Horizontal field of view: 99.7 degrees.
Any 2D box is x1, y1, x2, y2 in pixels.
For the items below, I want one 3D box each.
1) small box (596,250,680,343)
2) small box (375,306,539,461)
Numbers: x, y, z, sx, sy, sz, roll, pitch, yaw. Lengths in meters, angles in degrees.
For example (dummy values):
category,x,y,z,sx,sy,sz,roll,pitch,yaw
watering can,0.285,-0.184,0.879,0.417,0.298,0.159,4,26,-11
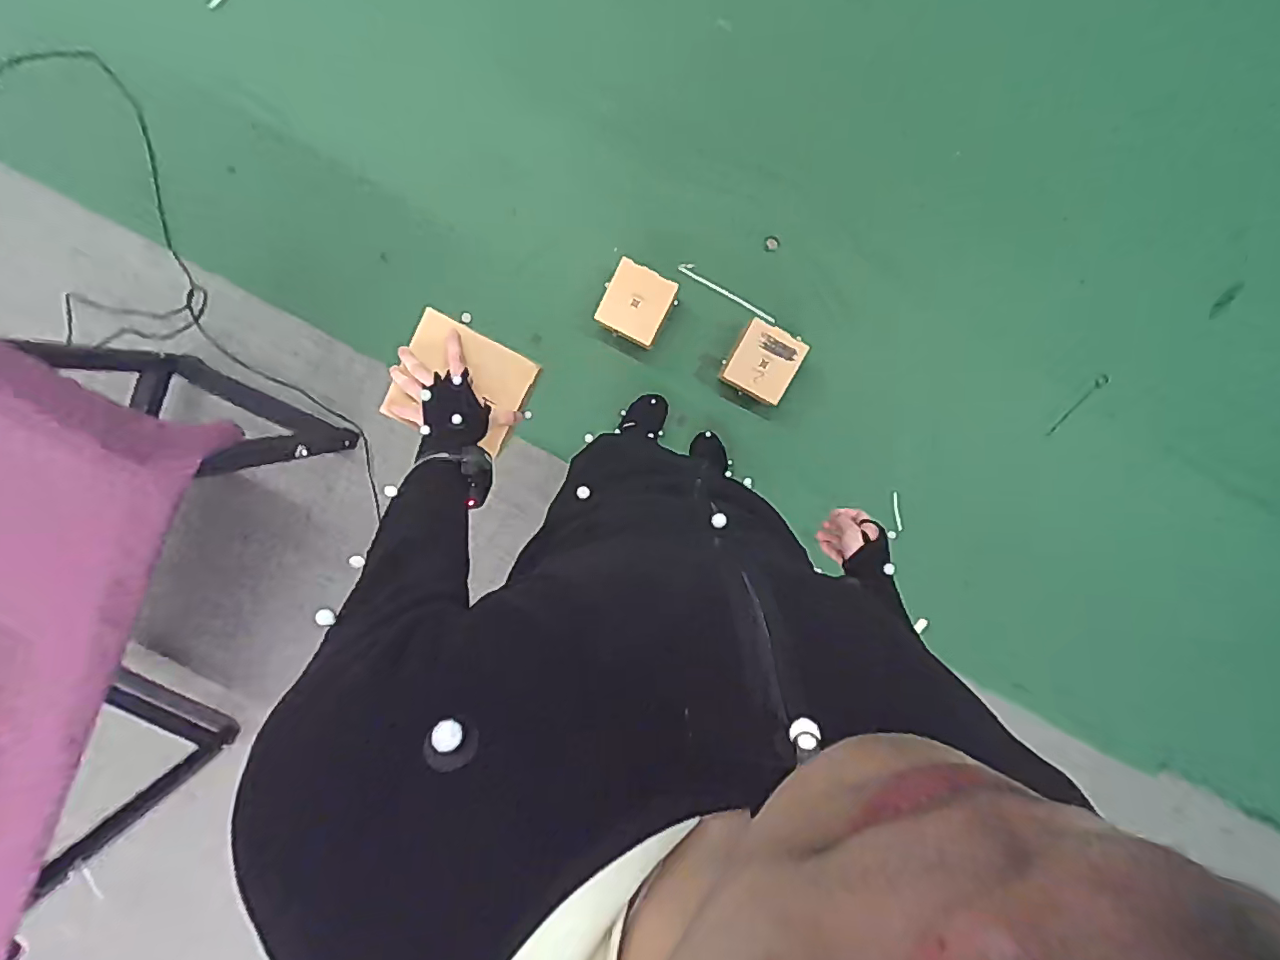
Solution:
category,x,y,z,sx,sy,sz,roll,pitch,yaw
small box,0.000,-0.488,1.473,0.168,0.176,0.179,27,99,-1
small box,-0.274,-0.149,0.852,0.179,0.176,0.168,26,98,-12
